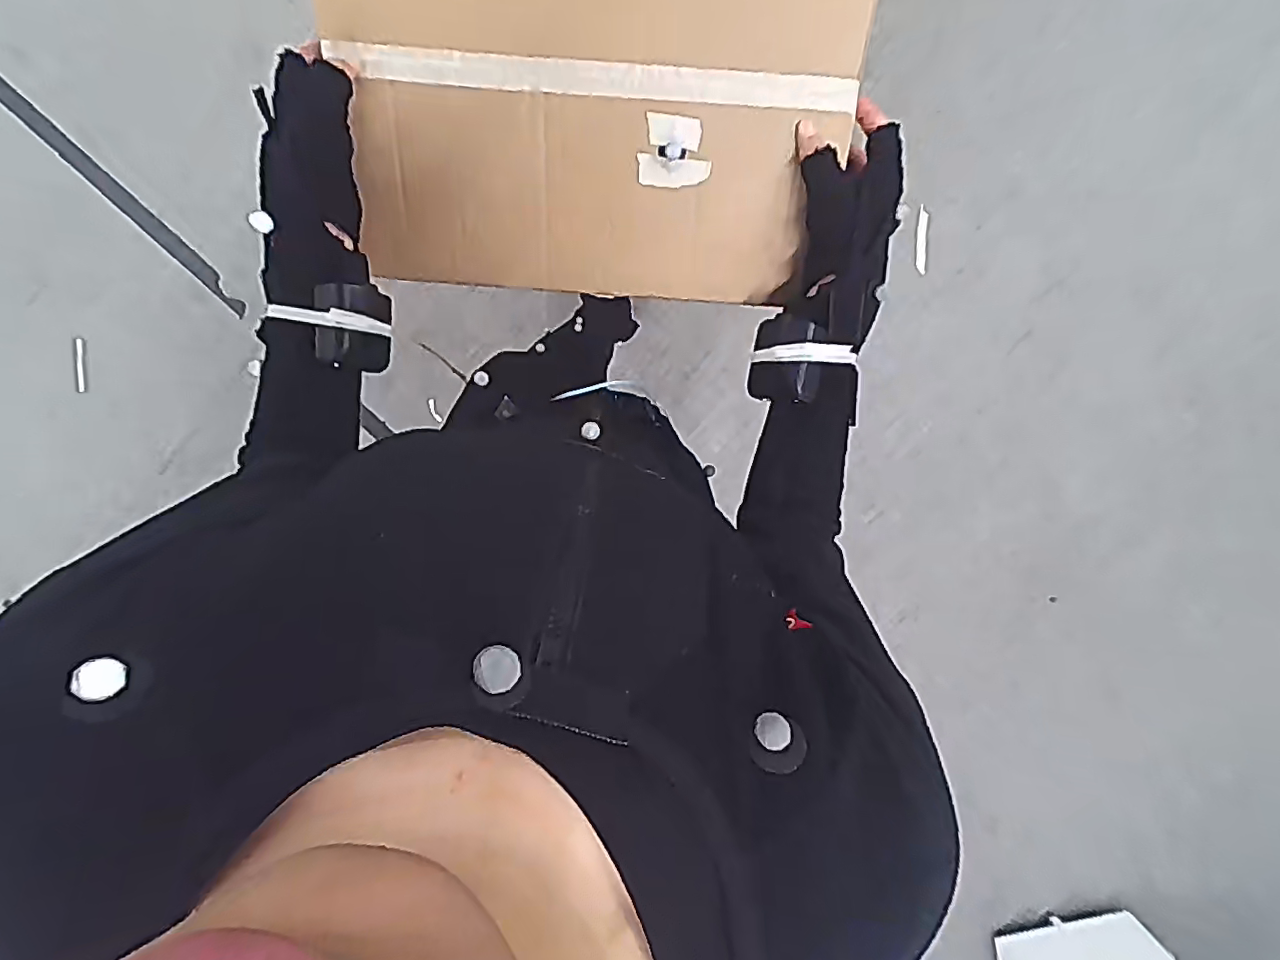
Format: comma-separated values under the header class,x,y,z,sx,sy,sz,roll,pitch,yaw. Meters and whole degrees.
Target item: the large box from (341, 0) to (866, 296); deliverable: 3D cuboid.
class,x,y,z,sx,sy,sz,roll,pitch,yaw
large box,-0.032,-0.383,0.562,0.408,0.320,0.320,4,118,-2
